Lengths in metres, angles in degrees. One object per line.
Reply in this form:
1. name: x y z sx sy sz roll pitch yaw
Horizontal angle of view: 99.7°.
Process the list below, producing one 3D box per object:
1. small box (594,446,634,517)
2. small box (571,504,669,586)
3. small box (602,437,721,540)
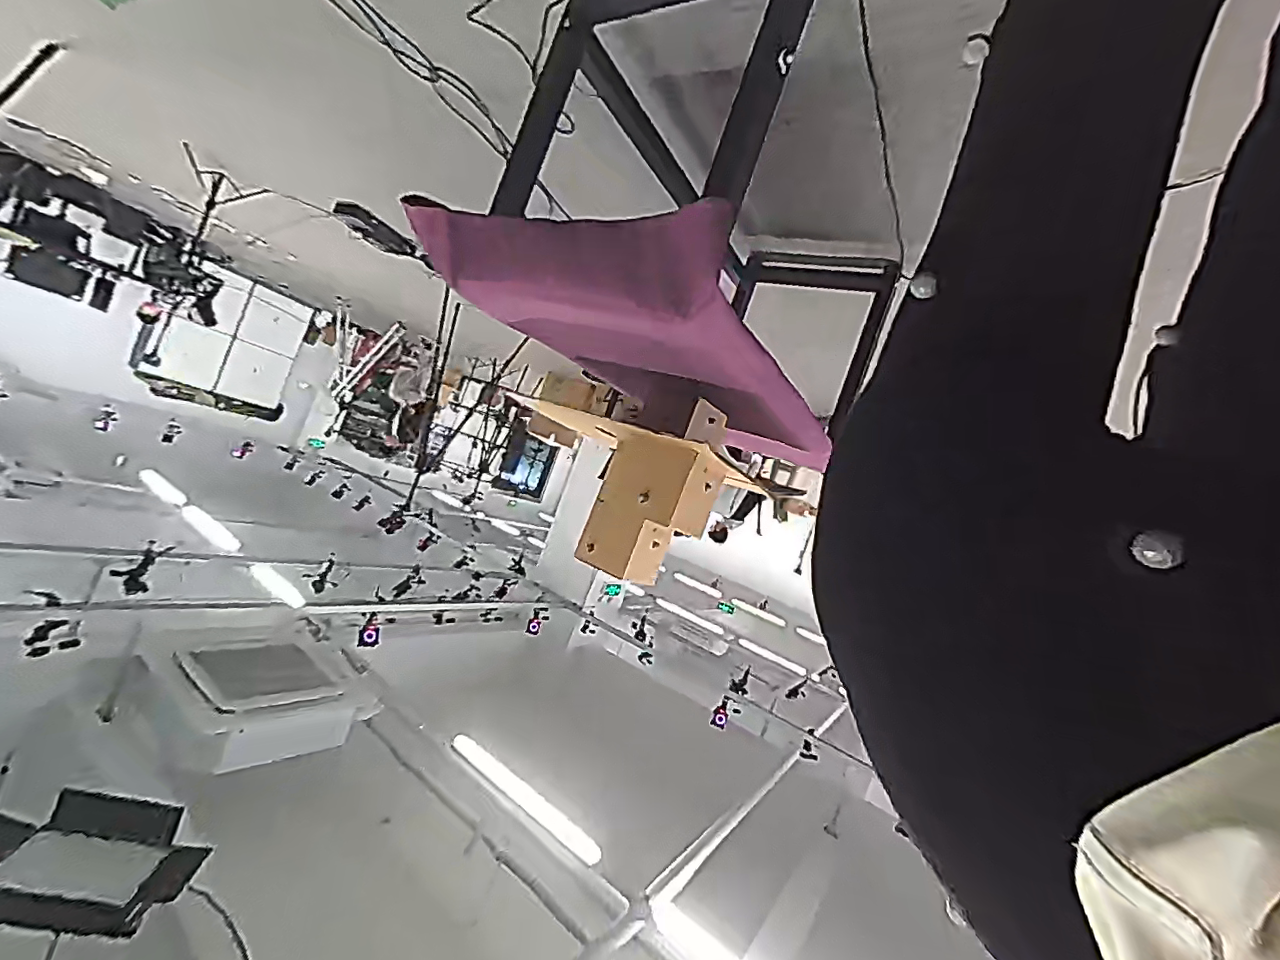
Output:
1. small box: 0.010 0.019 1.470 0.179 0.176 0.168 19 176 34
2. small box: -0.051 0.171 1.462 0.179 0.176 0.168 18 175 34
3. small box: 0.052 0.015 1.193 0.179 0.176 0.168 18 176 34
